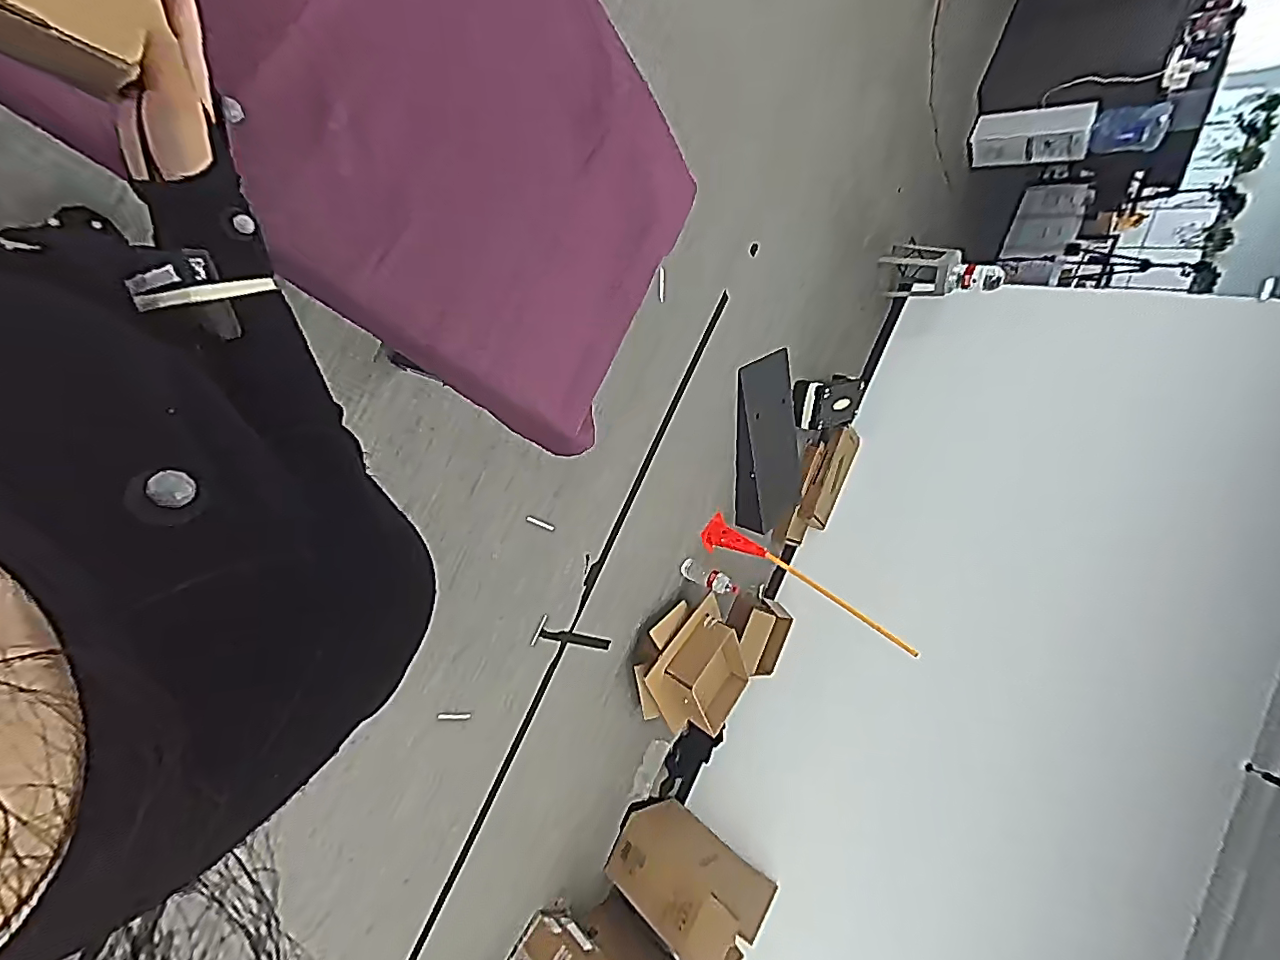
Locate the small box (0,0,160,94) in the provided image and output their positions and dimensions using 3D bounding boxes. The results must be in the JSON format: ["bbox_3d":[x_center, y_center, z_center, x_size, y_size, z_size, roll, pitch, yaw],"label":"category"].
[{"bbox_3d":[-0.331,-0.317,0.250,0.168,0.176,0.179,7,106,-50],"label":"small box"}]
